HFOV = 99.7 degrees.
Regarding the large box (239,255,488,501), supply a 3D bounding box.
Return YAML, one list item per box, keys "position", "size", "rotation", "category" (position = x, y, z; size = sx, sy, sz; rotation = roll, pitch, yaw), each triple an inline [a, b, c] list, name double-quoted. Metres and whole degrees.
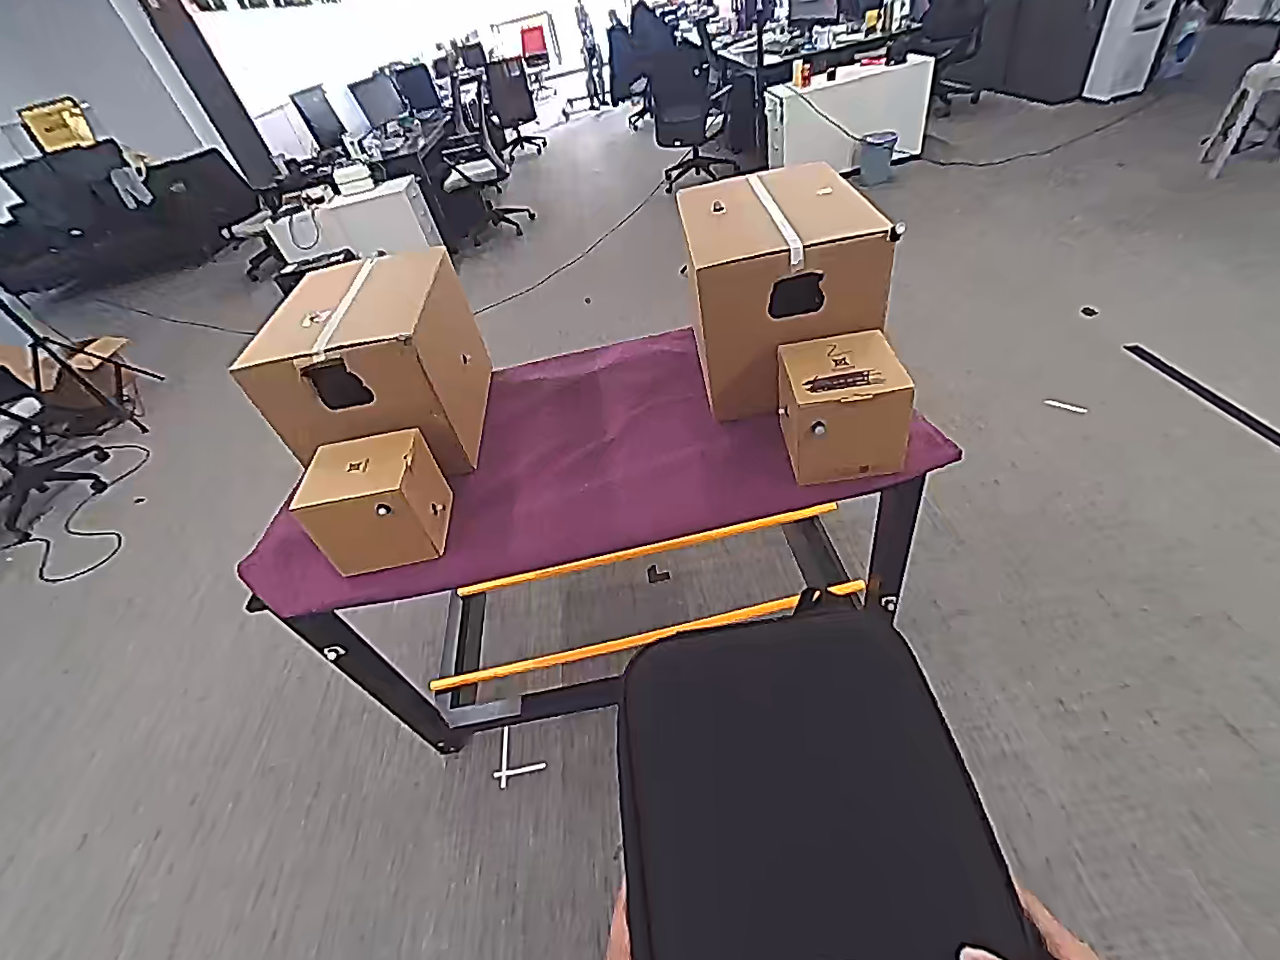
- position: [-0.527, -0.221, 1.141]
  size: [0.320, 0.320, 0.408]
  rotation: [-12, 45, 1]
  category: "large box"
